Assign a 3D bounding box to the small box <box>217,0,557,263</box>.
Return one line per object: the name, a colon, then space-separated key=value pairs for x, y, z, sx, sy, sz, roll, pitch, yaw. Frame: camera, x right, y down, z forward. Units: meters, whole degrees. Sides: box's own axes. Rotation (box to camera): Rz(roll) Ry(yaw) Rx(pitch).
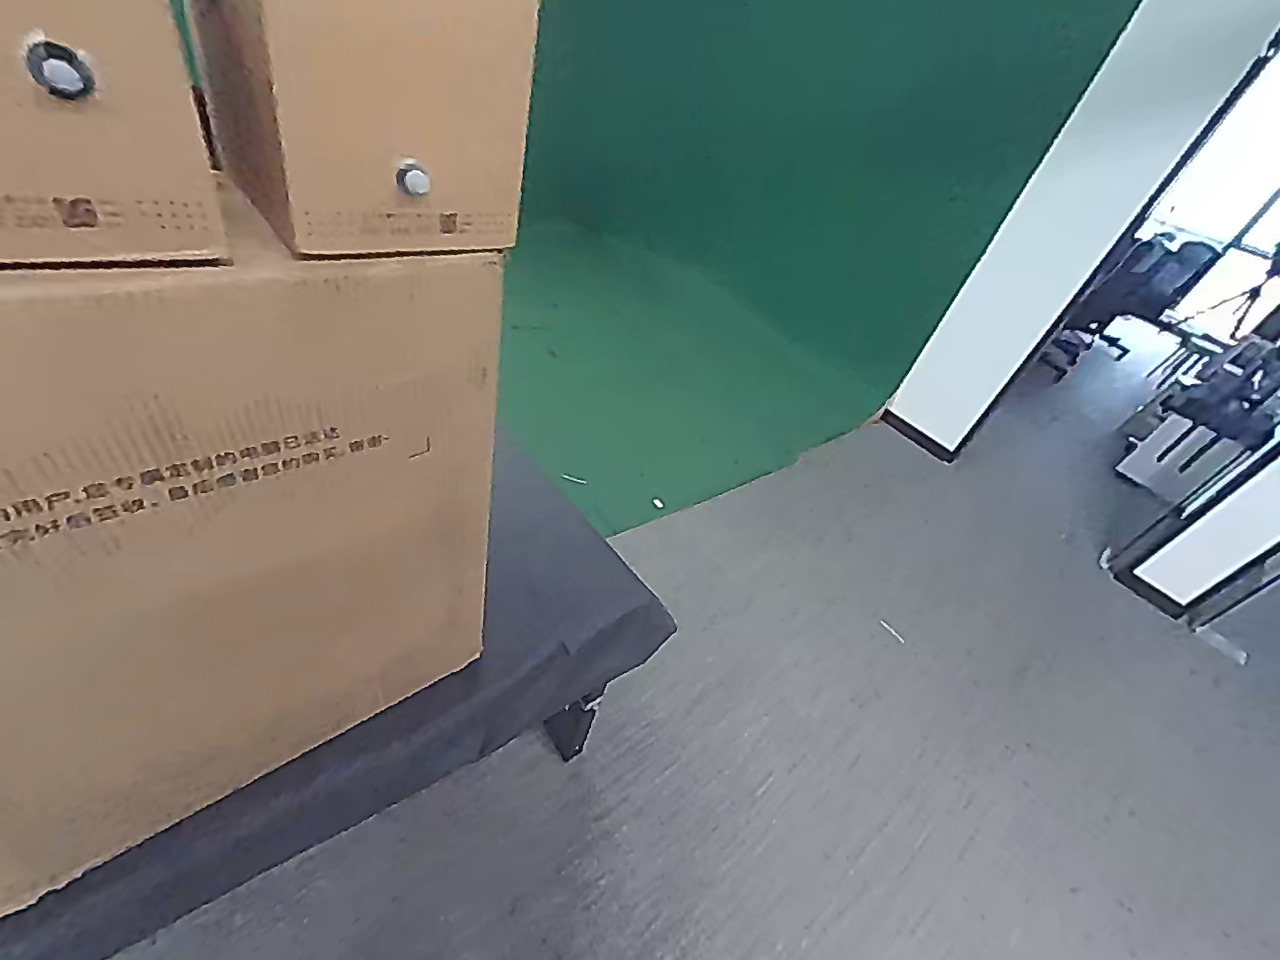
small box: x=-0.187 y=-0.276 z=0.396 sx=0.168 sy=0.176 sz=0.179 roll=-22 pitch=54 yaw=-38
